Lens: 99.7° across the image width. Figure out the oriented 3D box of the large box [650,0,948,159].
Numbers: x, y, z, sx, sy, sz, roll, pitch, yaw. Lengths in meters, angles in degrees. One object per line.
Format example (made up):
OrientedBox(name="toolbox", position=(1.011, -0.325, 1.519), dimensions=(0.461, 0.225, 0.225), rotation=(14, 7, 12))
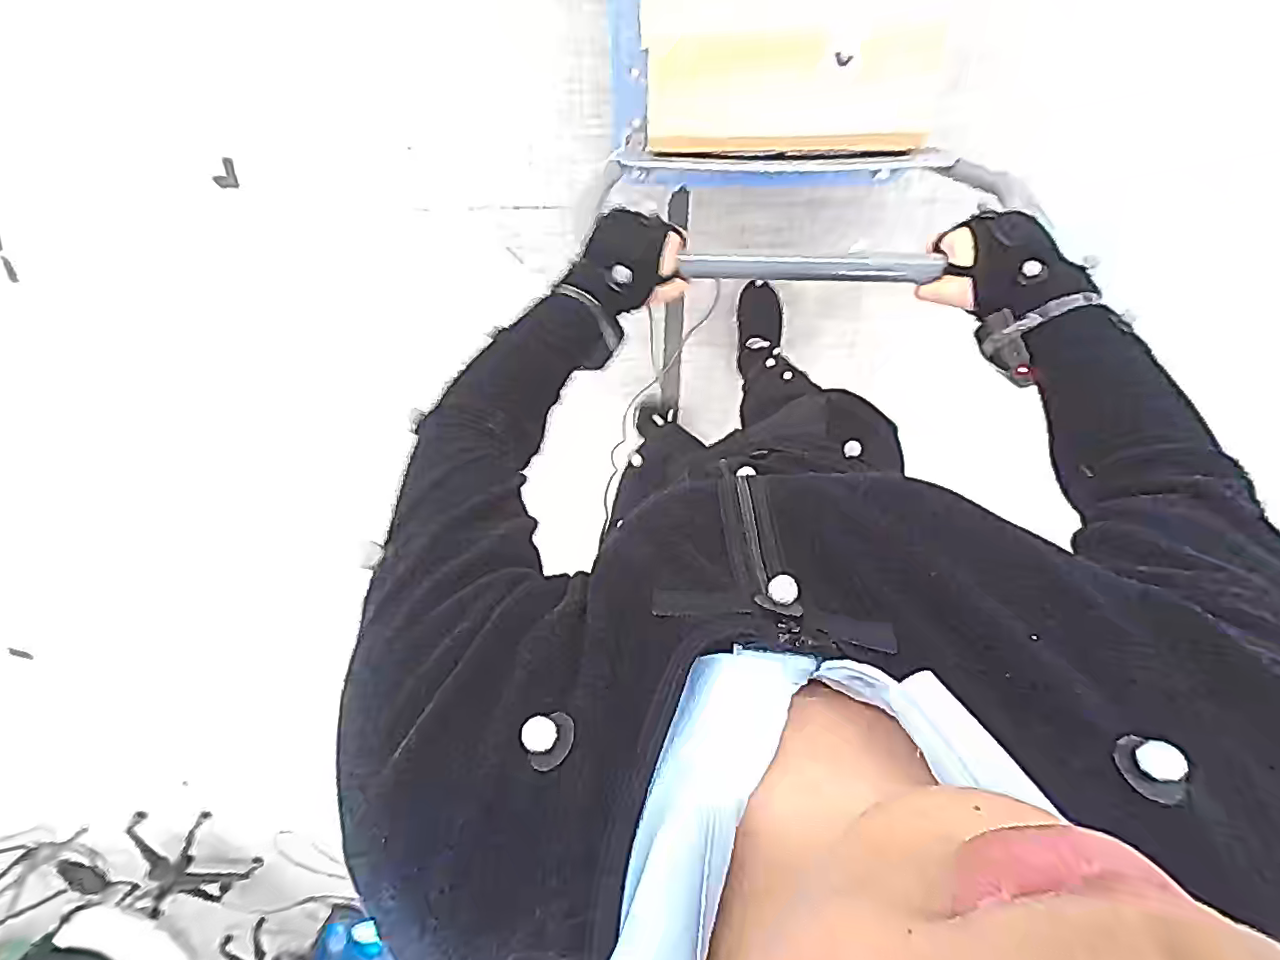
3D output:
OrientedBox(name="large box", position=(0.224, -0.705, 0.868), dimensions=(0.408, 0.320, 0.320), rotation=(2, 122, 5))
